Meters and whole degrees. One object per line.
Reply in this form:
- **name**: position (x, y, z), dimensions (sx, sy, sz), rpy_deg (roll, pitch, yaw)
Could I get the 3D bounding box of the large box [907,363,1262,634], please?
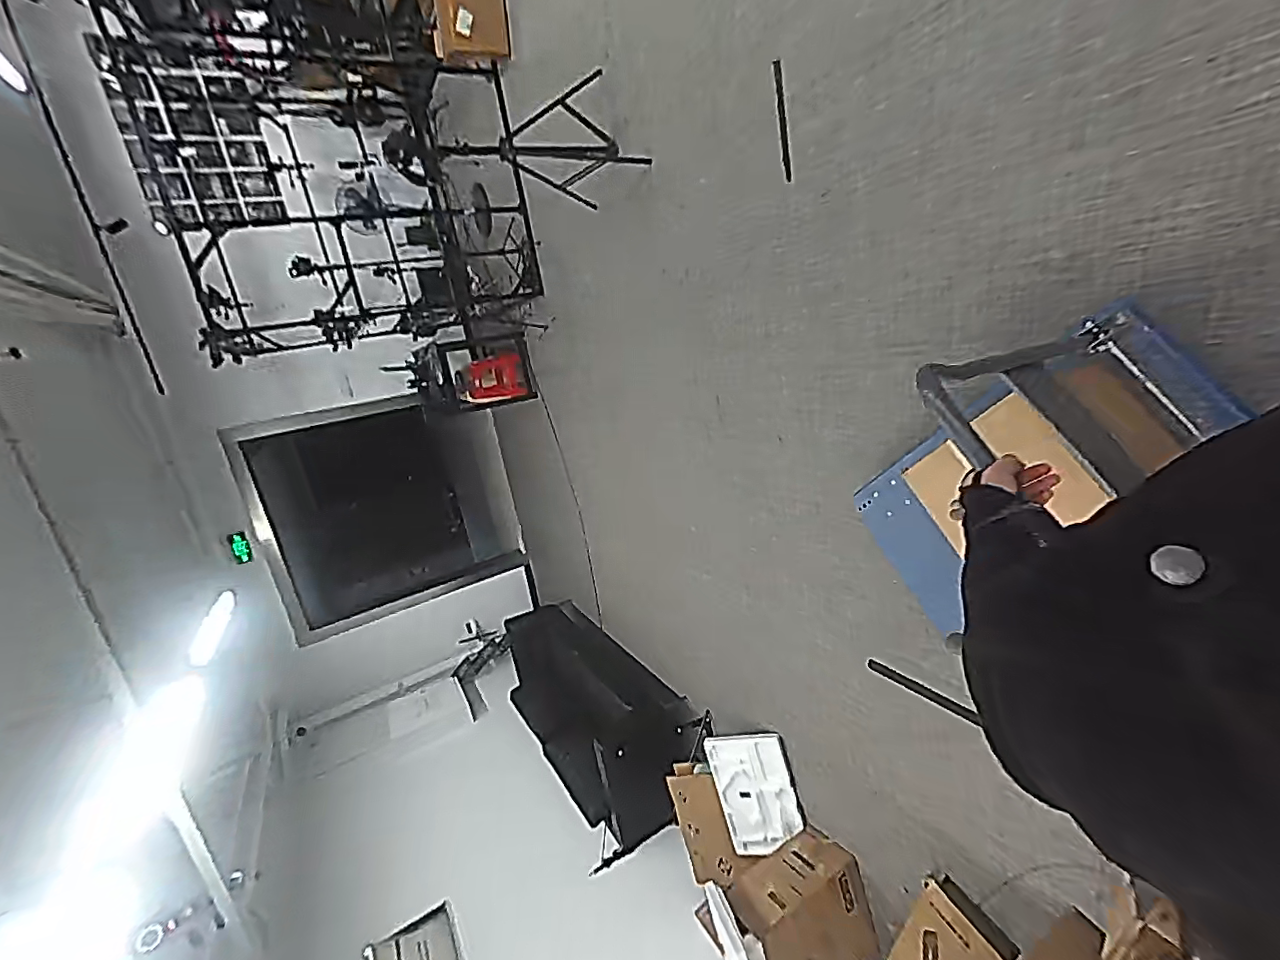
- **large box**: position (0.854, 0.034, 1.085), dimensions (0.408, 0.320, 0.320), rpy_deg (63, 152, 21)
